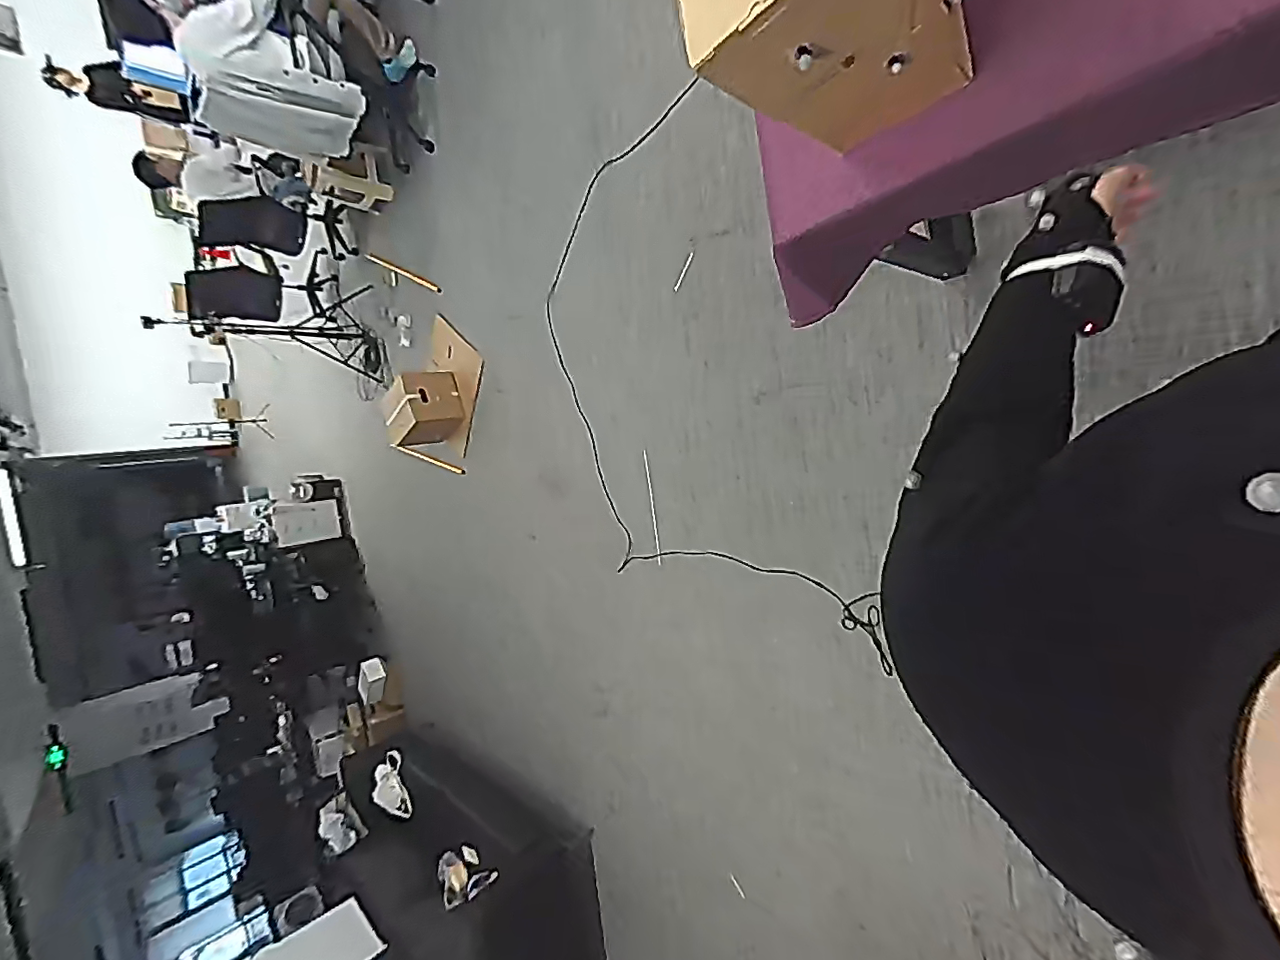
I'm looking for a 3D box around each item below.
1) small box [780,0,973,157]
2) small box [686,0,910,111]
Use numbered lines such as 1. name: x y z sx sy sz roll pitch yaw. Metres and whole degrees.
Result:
1. small box: 0.284 -0.544 0.674 0.179 0.176 0.168 -9 90 47
2. small box: 0.161 -0.527 0.565 0.168 0.176 0.179 -10 90 46
